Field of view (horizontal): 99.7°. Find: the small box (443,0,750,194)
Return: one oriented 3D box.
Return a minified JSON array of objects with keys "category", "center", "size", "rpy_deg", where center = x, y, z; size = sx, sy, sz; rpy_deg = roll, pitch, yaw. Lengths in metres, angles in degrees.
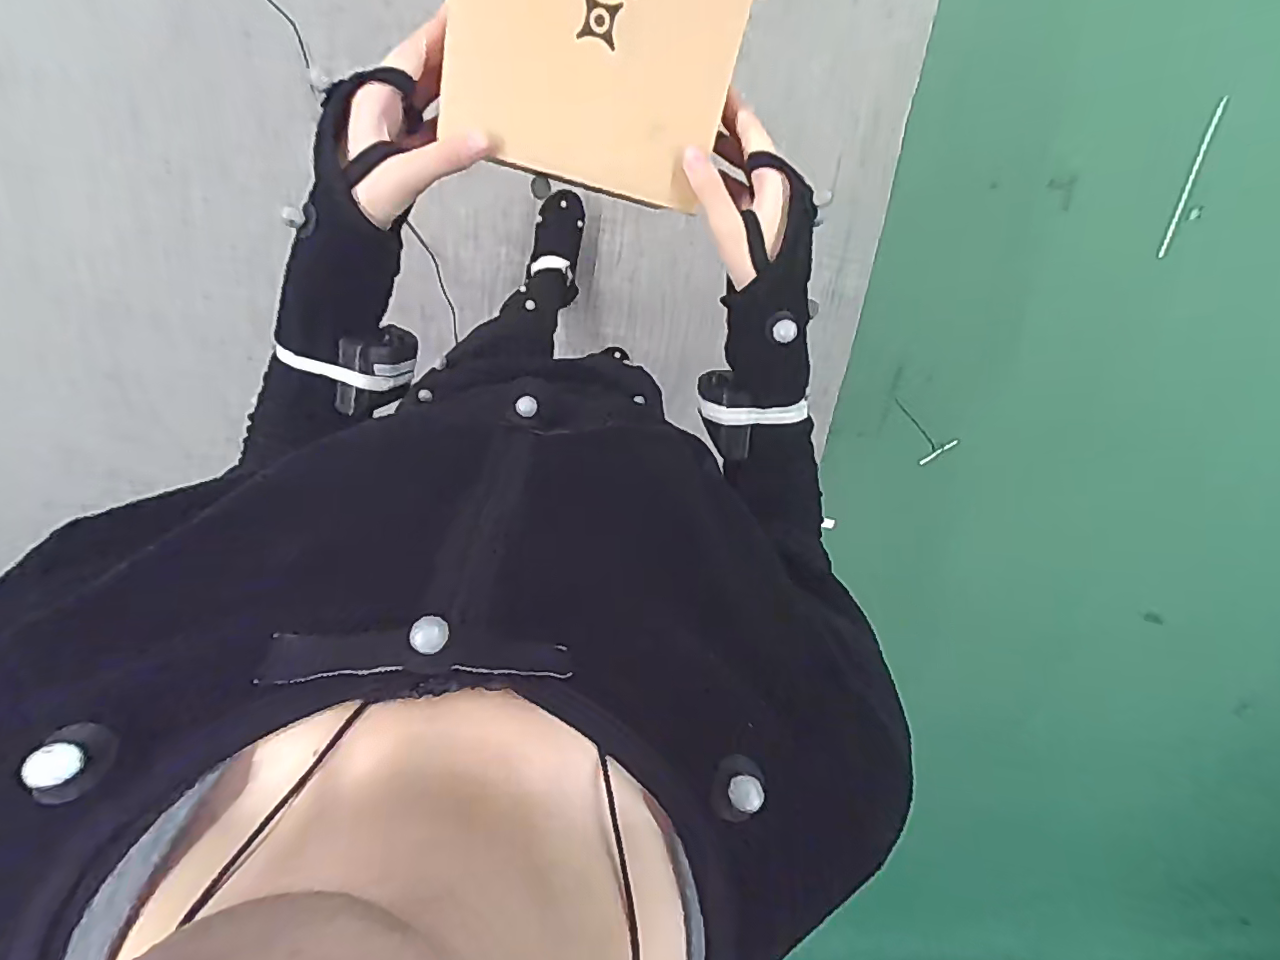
[{"category":"small box","center":[-0.026,-0.312,0.373],"size":[0.168,0.176,0.179],"rpy_deg":[10,114,-12]}]
